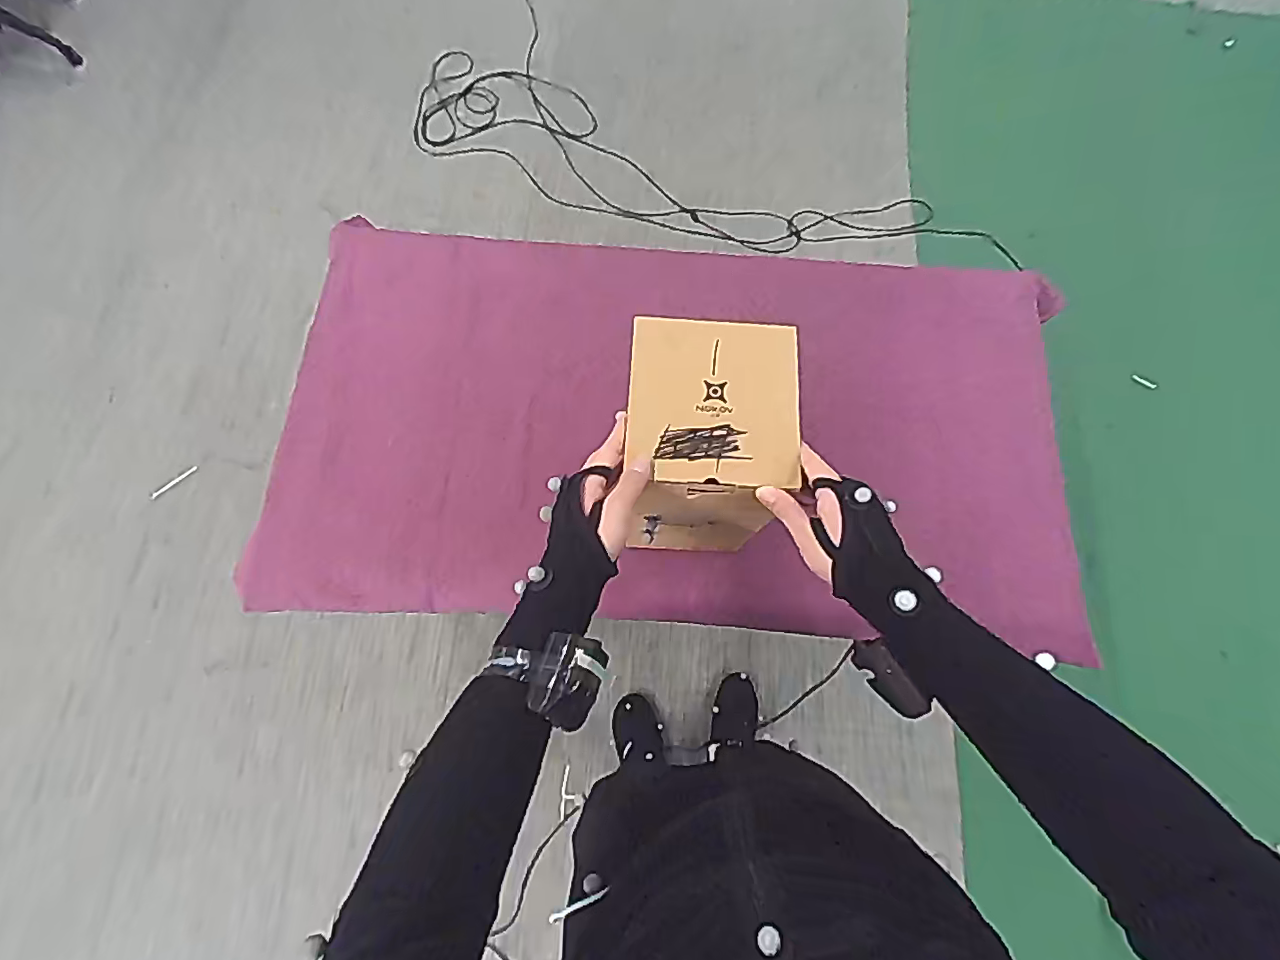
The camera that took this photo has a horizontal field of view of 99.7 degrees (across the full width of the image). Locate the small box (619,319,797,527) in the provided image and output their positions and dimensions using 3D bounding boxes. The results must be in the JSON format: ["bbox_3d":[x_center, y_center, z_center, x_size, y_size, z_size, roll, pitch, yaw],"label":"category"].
[{"bbox_3d":[0.068,-0.051,0.594,0.168,0.176,0.179,4,72,0],"label":"small box"}]
